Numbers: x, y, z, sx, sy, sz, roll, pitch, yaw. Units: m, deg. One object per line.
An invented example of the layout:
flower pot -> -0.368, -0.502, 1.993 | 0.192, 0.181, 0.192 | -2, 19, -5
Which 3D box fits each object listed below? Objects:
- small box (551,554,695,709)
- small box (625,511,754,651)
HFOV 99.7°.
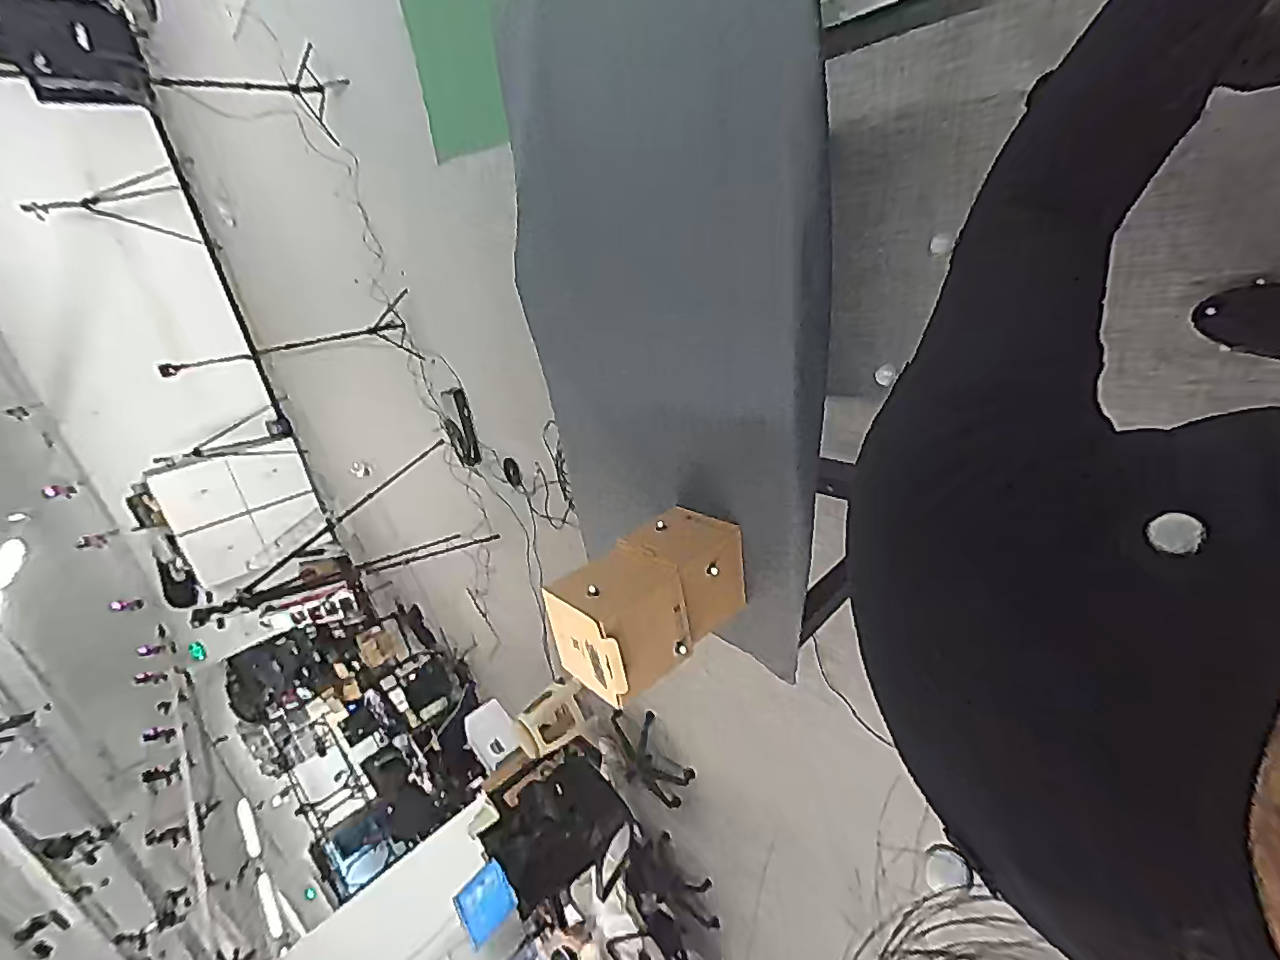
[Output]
small box -> -0.022, 0.244, 0.924 | 0.179, 0.176, 0.168 | 12, 119, 50
small box -> 0.097, 0.178, 1.017 | 0.168, 0.176, 0.179 | 17, 124, 48
